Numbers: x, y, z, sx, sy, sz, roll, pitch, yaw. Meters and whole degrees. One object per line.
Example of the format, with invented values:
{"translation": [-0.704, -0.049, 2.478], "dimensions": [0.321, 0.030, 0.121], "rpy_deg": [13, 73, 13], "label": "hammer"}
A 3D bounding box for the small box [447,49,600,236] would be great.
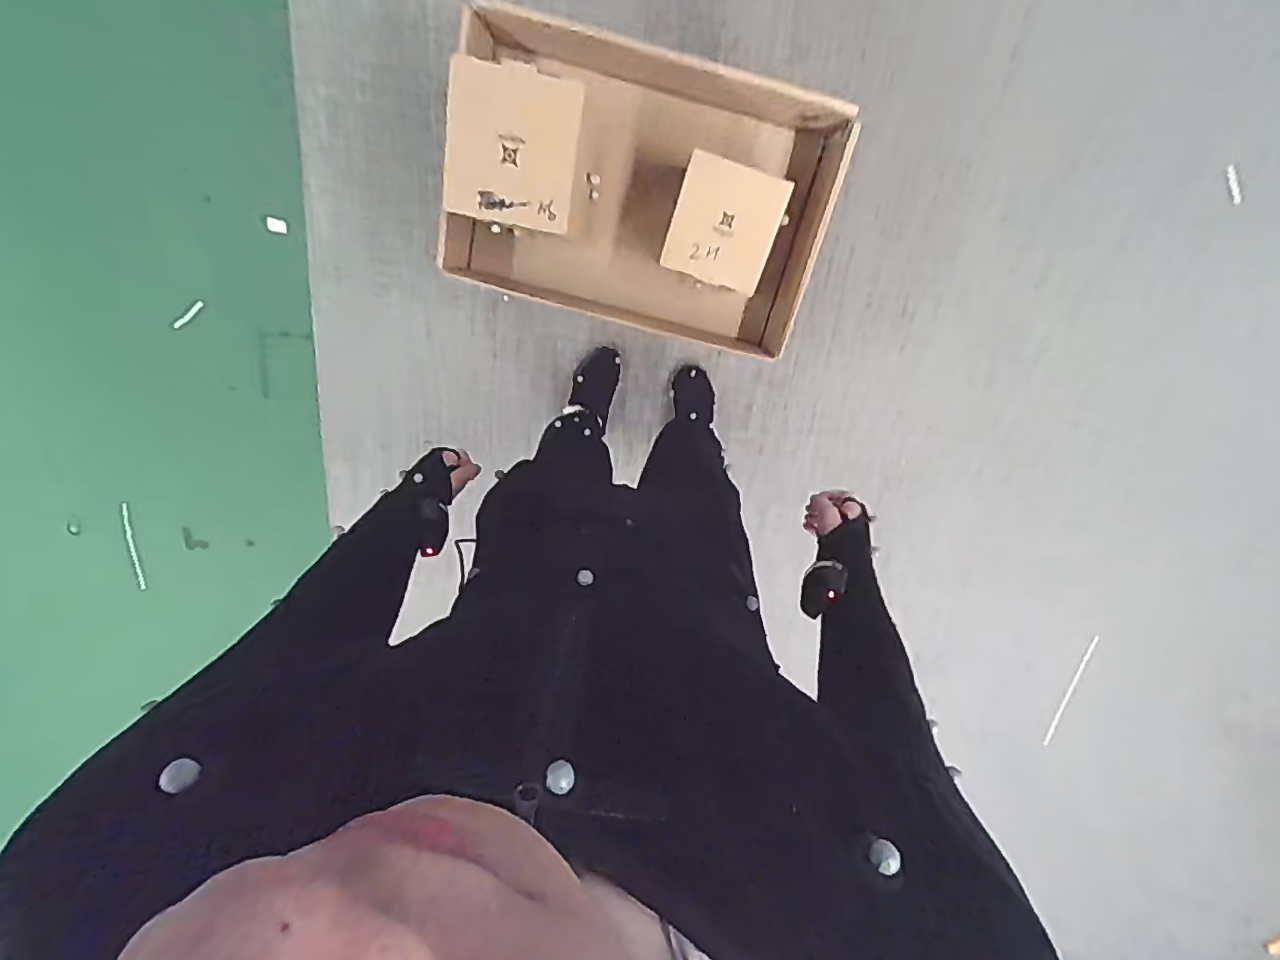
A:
{"translation": [-0.155, -0.456, 0.761], "dimensions": [0.168, 0.176, 0.179], "rpy_deg": [12, 112, 0], "label": "small box"}

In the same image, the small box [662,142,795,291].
{"translation": [0.140, -0.441, 0.927], "dimensions": [0.168, 0.176, 0.179], "rpy_deg": [18, 112, -4], "label": "small box"}
